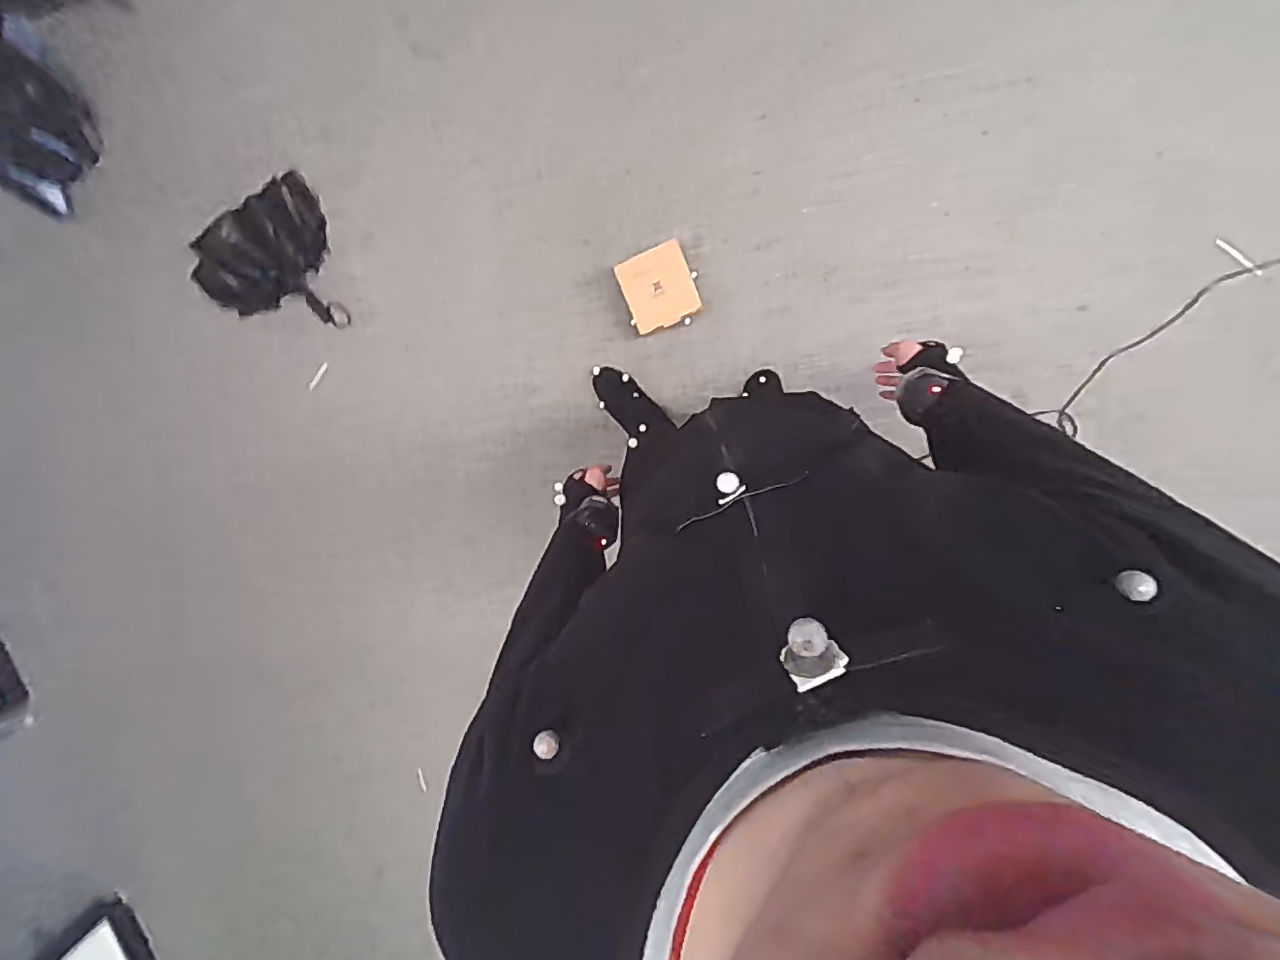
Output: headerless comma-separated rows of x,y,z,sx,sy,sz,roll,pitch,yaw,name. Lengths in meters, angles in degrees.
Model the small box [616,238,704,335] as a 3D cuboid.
0.058,-0.481,1.372,0.168,0.176,0.179,-22,100,11,small box
